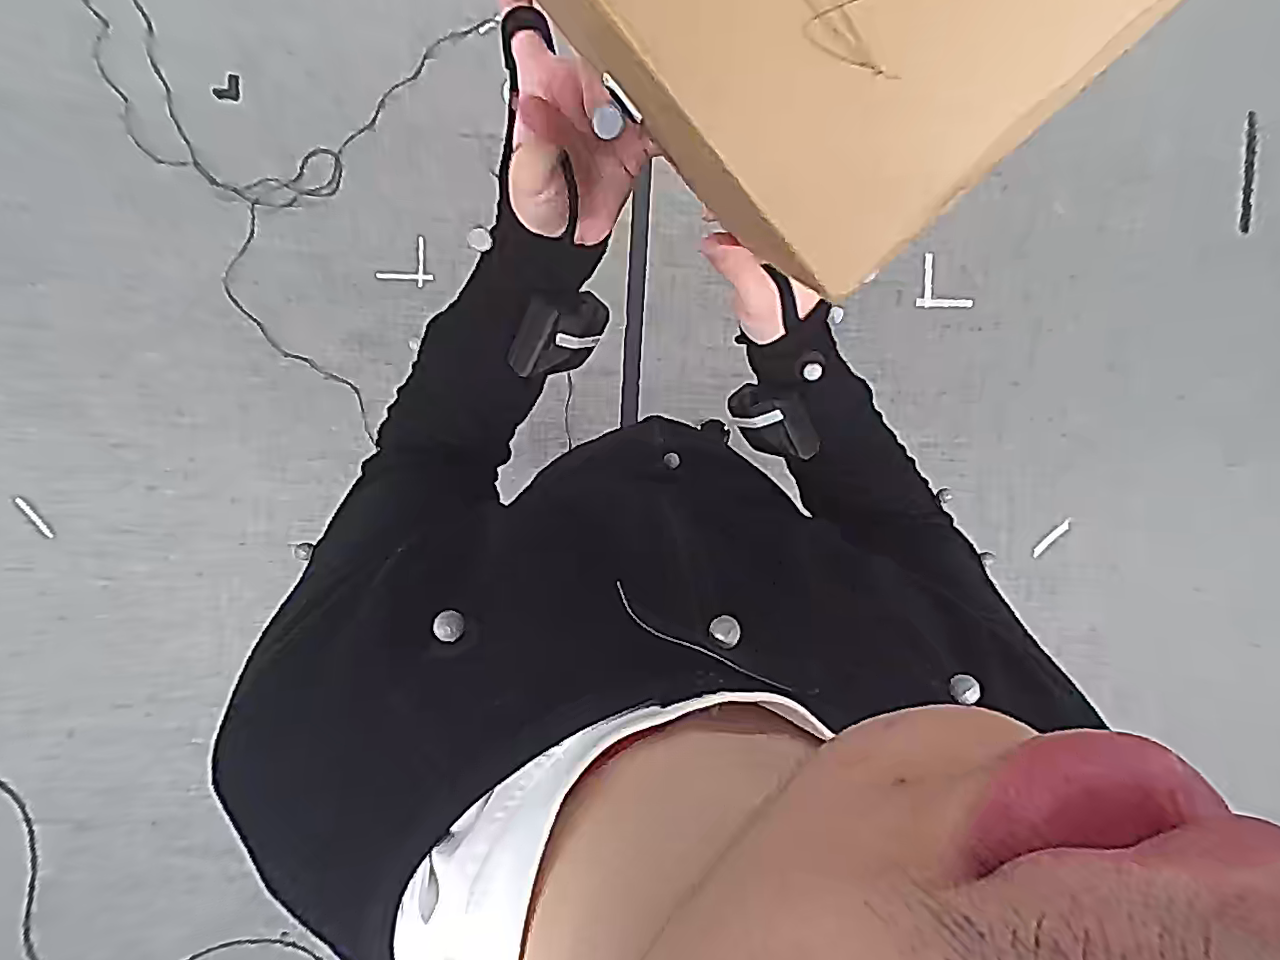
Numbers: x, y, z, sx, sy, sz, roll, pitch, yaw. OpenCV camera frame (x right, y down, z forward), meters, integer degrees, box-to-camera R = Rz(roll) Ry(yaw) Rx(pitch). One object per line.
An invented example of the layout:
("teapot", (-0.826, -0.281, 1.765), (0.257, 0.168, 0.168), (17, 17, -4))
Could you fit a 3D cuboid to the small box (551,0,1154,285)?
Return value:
("small box", (0.069, -0.212, 0.205), (0.168, 0.176, 0.179), (39, 112, -22))
